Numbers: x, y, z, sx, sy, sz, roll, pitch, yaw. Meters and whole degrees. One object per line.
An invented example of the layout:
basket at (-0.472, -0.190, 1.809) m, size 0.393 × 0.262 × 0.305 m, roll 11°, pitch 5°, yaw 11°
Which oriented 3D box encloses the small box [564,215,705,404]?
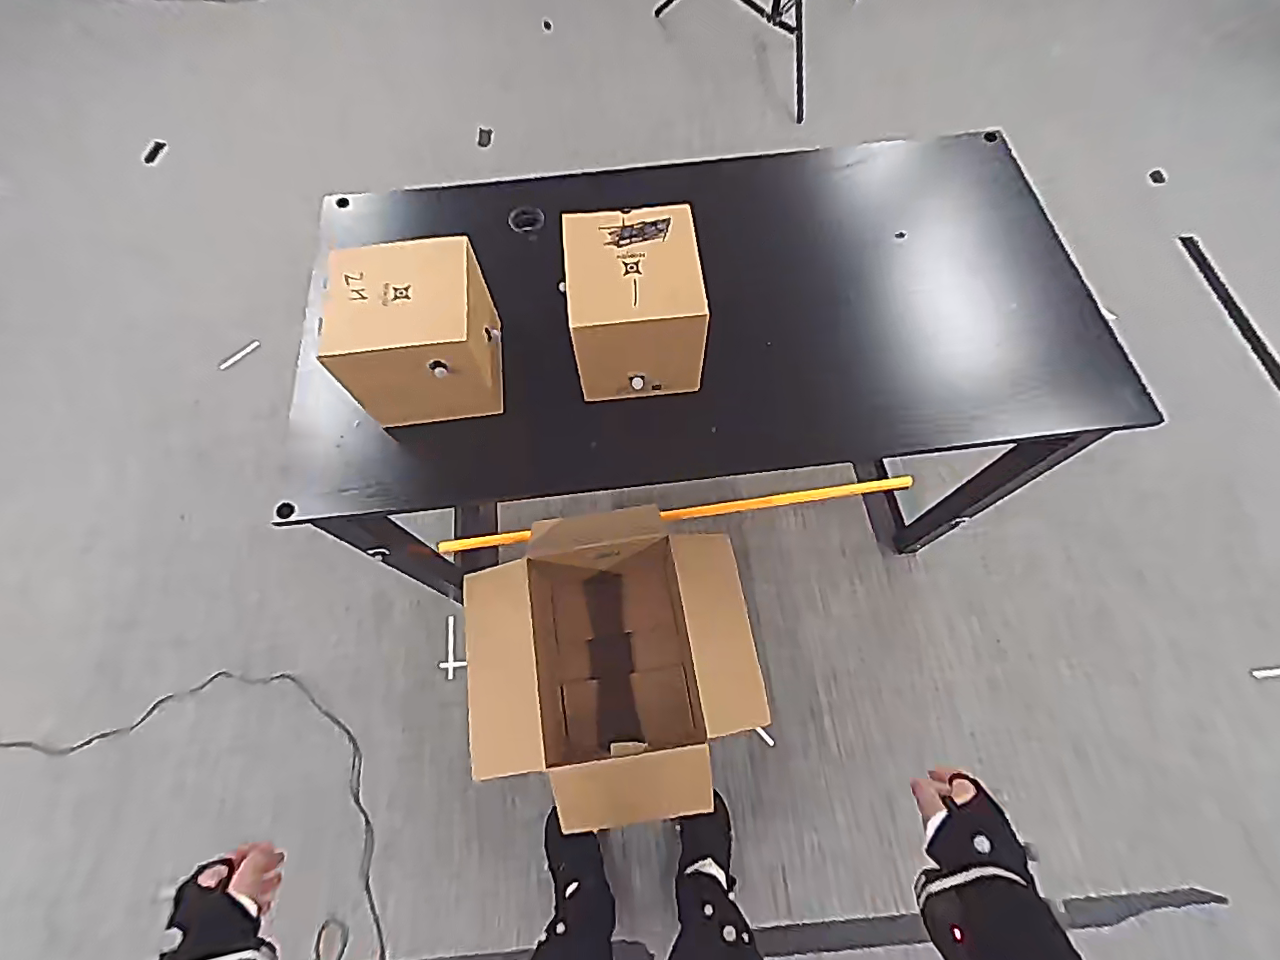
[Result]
small box at (-0.010, -0.225, 0.735) m, size 0.168 × 0.176 × 0.179 m, roll -6°, pitch 67°, yaw -1°

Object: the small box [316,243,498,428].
small box at (-0.292, -0.185, 0.724) m, size 0.179 × 0.176 × 0.168 m, roll -7°, pitch 66°, yaw -2°
